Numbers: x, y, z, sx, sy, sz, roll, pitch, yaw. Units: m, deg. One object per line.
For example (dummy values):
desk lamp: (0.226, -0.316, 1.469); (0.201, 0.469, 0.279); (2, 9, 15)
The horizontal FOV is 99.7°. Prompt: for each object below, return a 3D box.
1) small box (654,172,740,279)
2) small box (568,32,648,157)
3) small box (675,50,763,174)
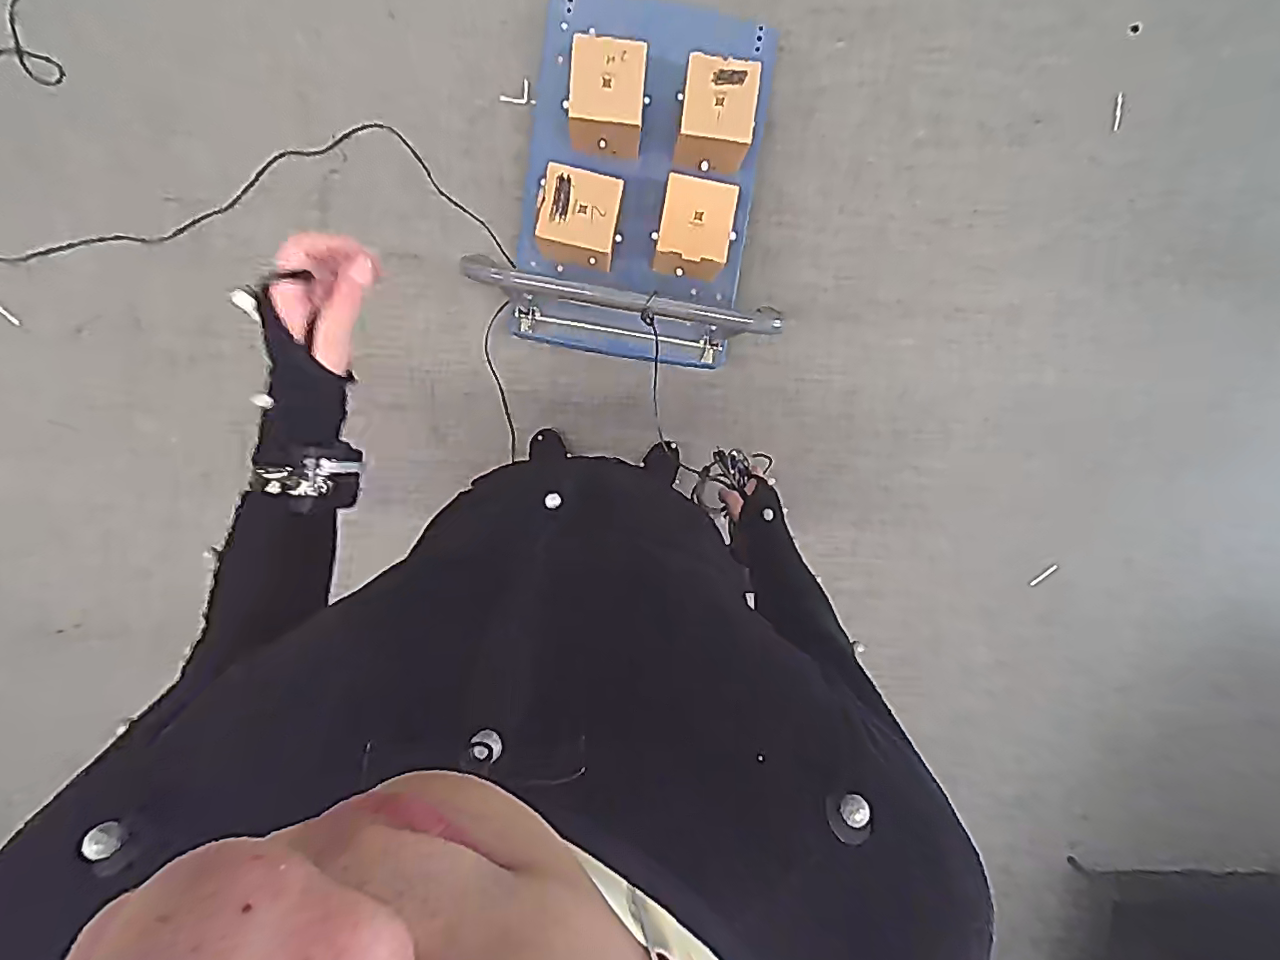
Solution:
small box: (0.131, -0.611, 1.318); (0.168, 0.176, 0.179); (9, 96, -4)
small box: (-0.075, -0.896, 1.274); (0.168, 0.176, 0.179); (5, 96, -4)
small box: (0.180, -0.867, 1.290); (0.168, 0.176, 0.179); (7, 97, -3)
